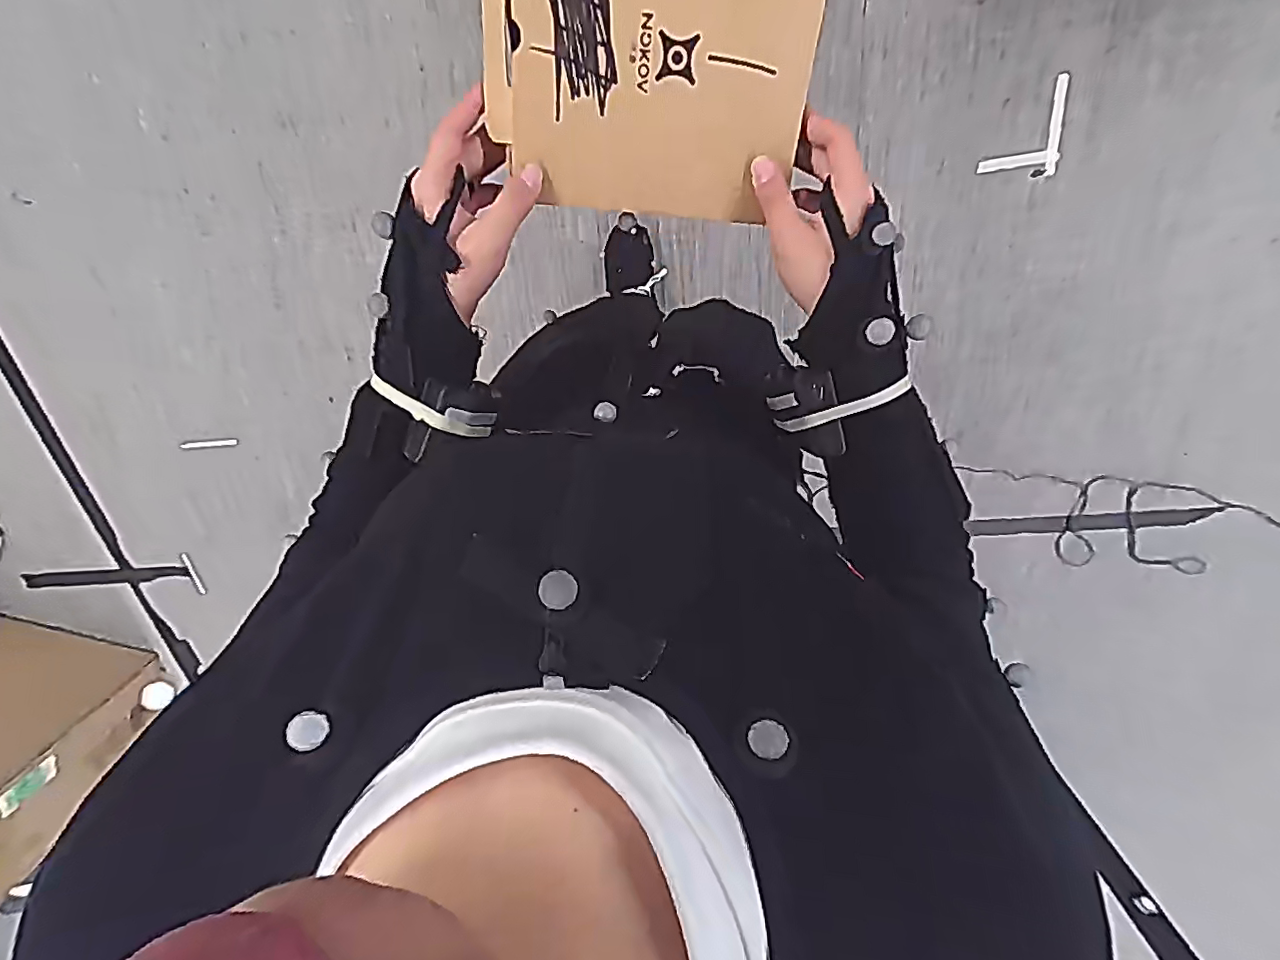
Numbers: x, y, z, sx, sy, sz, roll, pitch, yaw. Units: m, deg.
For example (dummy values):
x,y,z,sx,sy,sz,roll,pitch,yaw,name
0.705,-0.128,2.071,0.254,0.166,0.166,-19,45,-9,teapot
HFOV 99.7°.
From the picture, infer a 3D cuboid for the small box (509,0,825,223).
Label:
x,y,z,sx,sy,sz,roll,pitch,yaw,name
0.010,-0.283,0.377,0.179,0.176,0.168,3,120,-5,small box
